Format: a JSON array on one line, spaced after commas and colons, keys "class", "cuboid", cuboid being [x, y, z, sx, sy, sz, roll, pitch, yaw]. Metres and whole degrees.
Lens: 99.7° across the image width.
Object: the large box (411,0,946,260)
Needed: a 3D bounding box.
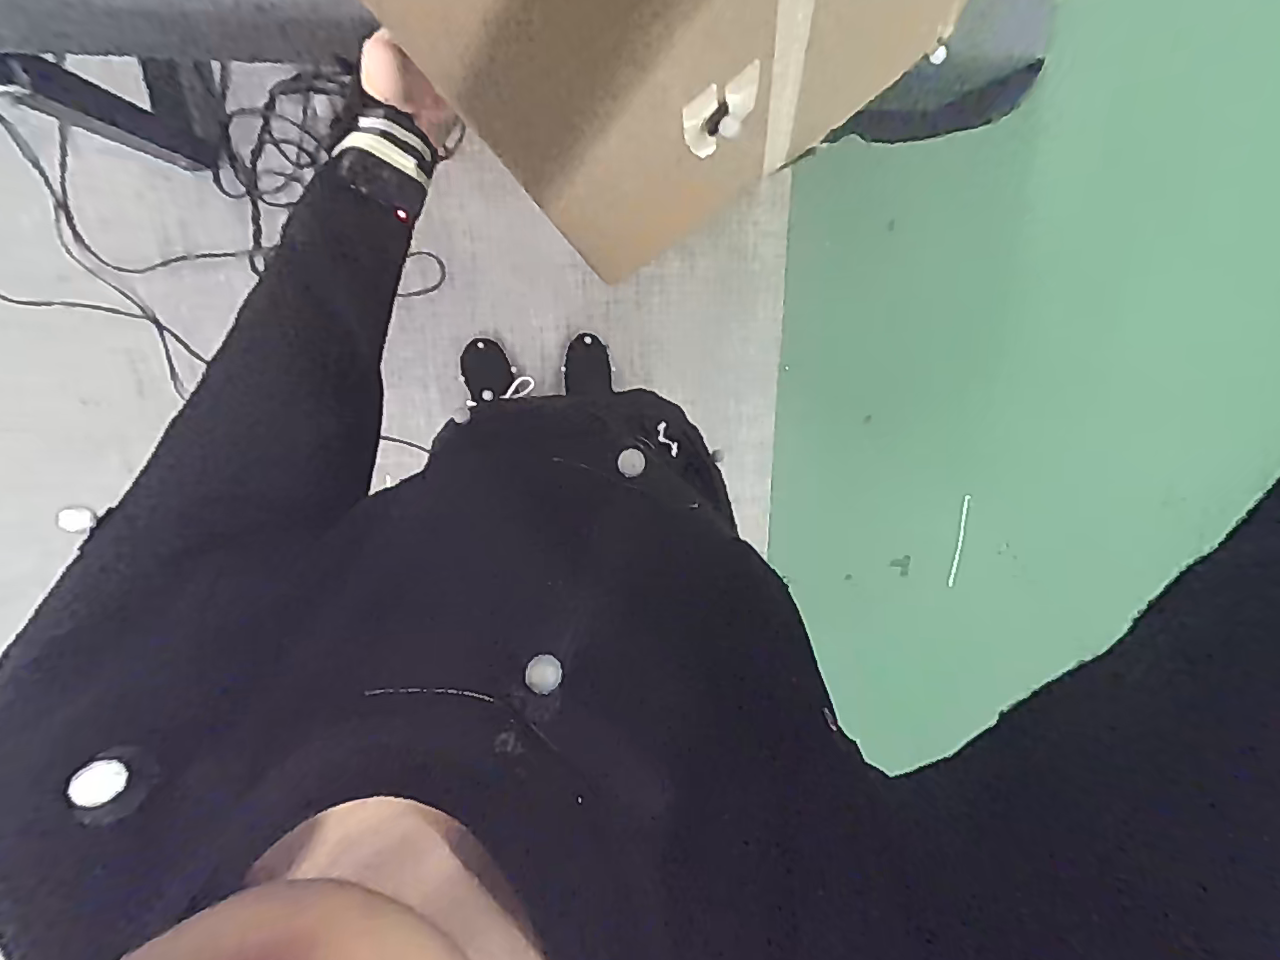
[{"class": "large box", "cuboid": [-0.013, -0.372, 0.241, 0.320, 0.408, 0.320, -33, 90, 11]}]
